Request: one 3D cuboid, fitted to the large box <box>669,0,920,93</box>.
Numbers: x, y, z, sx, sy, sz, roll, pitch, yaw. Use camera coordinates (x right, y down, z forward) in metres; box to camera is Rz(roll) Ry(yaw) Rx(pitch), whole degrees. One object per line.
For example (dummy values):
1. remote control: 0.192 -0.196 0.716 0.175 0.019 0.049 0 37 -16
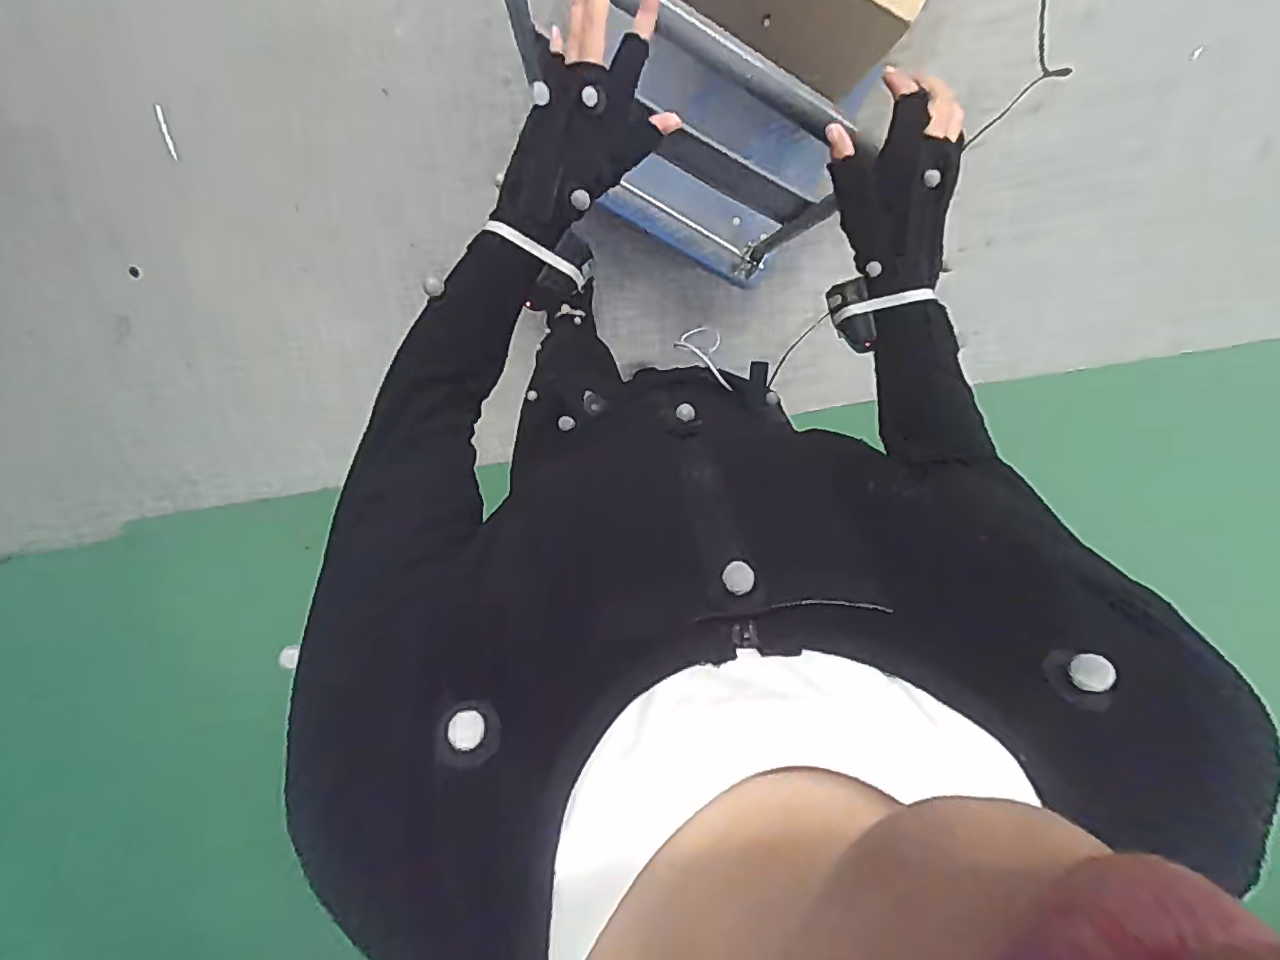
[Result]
1. large box: 0.290 -0.945 0.894 0.408 0.320 0.320 24 103 -7
